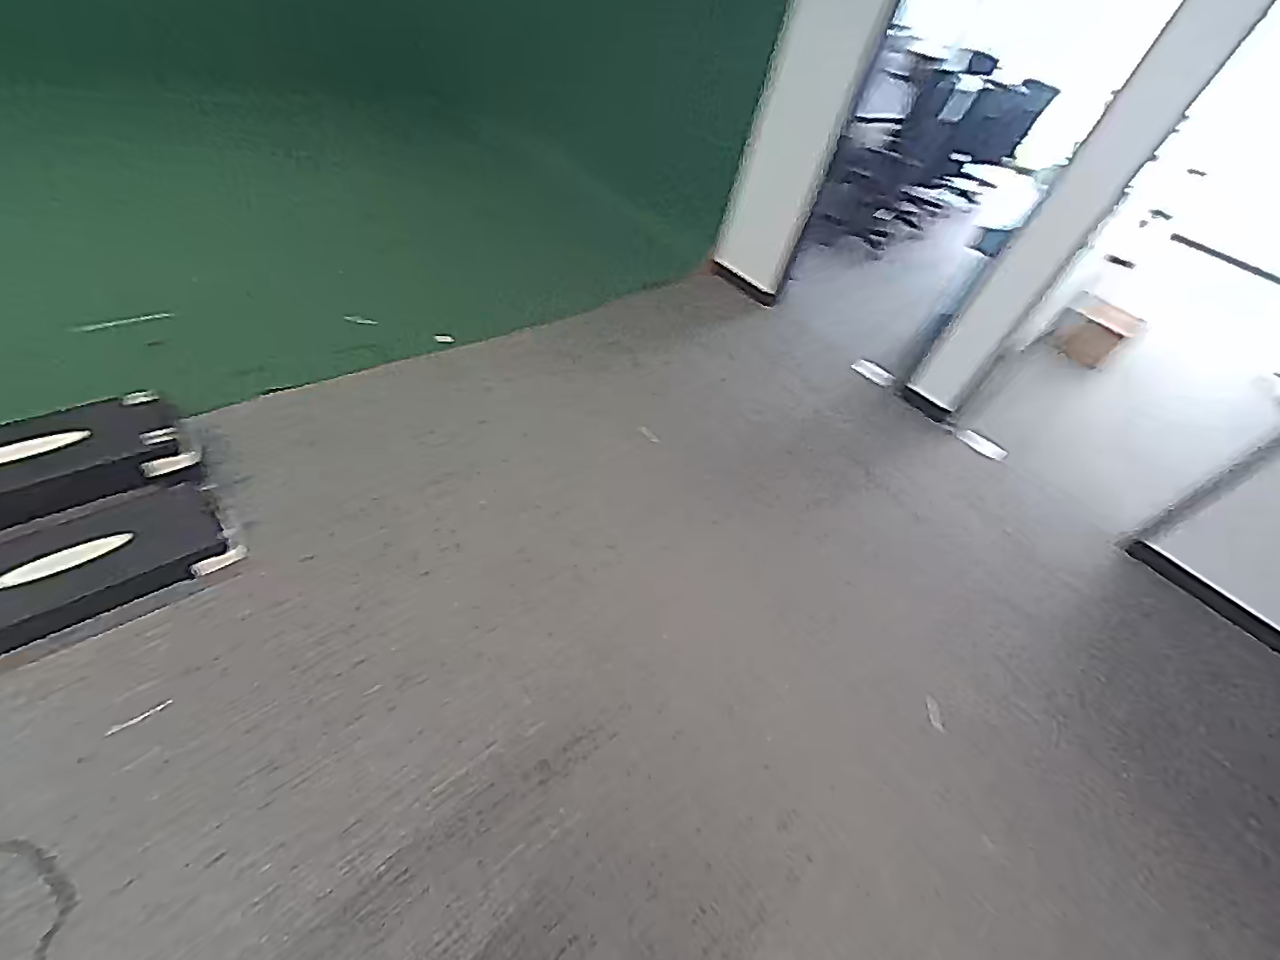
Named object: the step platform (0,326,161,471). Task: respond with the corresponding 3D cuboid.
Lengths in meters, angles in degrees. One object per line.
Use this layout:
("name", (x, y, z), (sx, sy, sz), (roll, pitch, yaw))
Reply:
("step platform", (-1.668, -0.170, 1.362), (0.684, 0.204, 0.286), (-28, 61, -33))
